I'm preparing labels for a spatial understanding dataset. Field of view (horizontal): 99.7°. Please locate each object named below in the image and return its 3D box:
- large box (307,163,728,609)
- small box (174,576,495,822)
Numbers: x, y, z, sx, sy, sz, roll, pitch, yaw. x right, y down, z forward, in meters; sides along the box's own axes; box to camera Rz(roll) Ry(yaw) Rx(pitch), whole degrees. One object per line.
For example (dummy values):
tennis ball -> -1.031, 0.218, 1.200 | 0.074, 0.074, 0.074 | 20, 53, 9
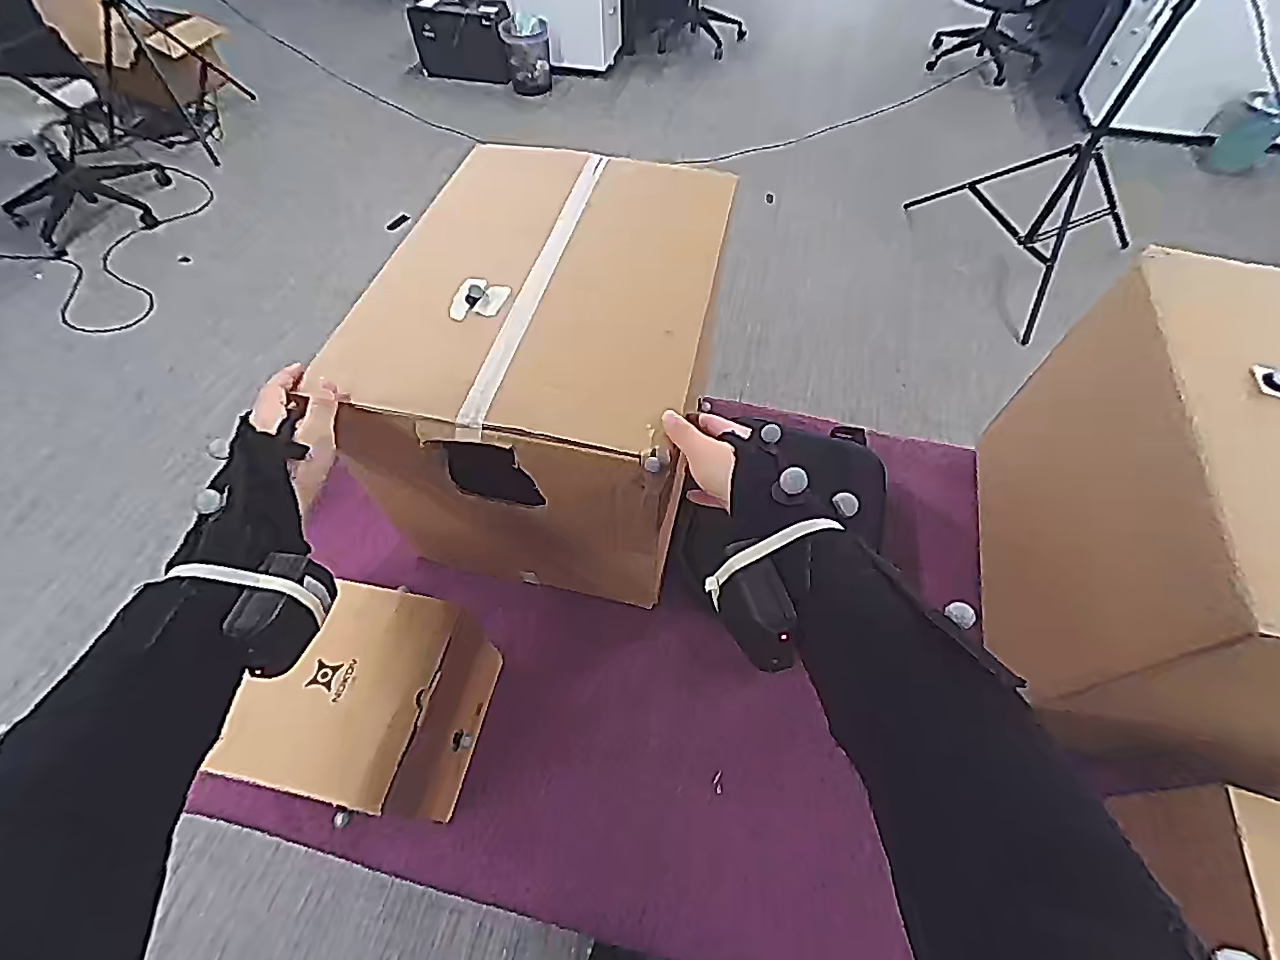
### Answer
large box -> -0.088, -0.108, 0.652 | 0.320, 0.320, 0.408 | 10, 58, 7
small box -> -0.260, 0.213, 0.514 | 0.179, 0.176, 0.168 | 9, 55, 5
